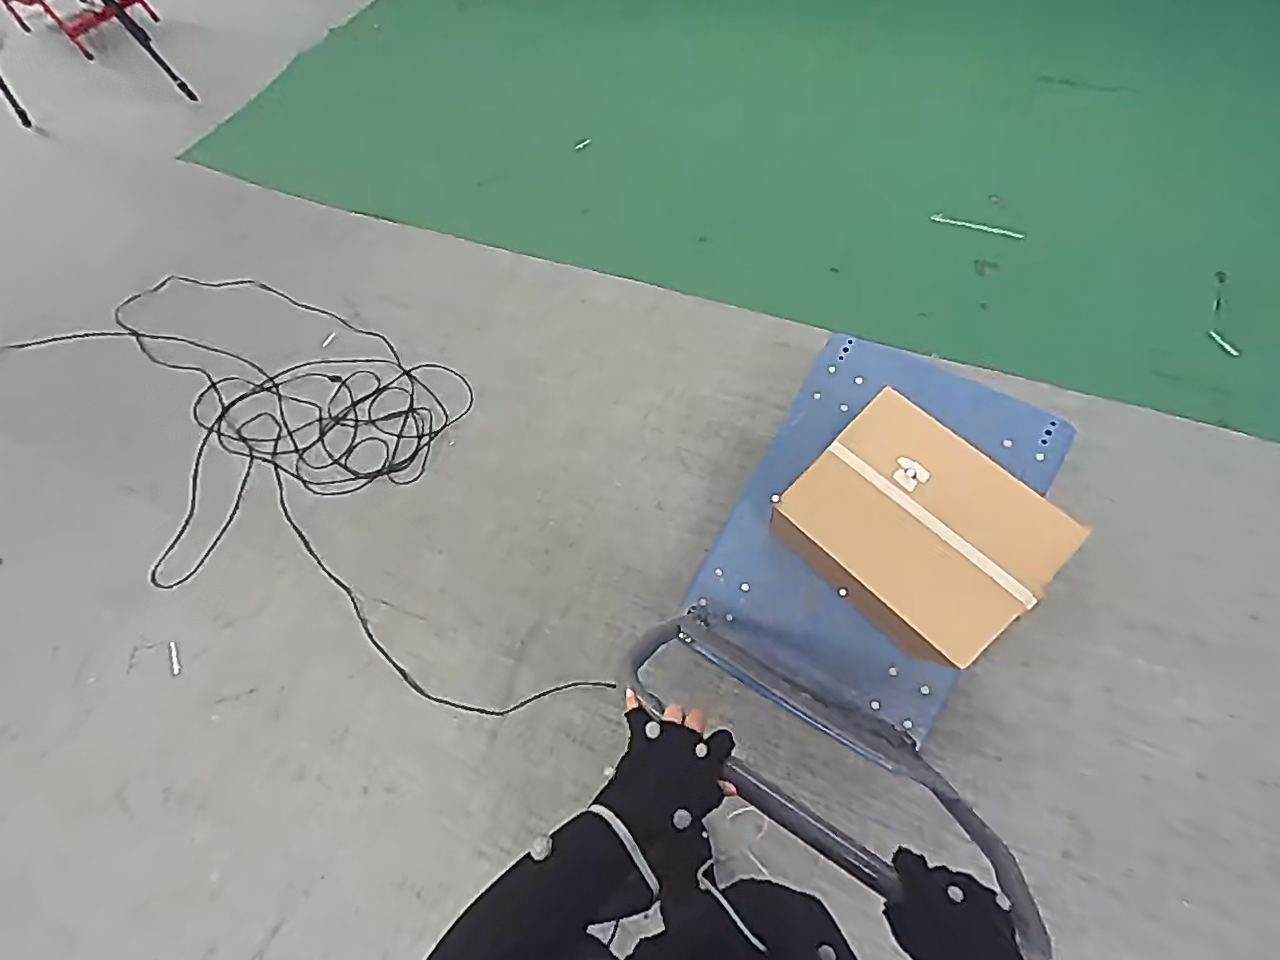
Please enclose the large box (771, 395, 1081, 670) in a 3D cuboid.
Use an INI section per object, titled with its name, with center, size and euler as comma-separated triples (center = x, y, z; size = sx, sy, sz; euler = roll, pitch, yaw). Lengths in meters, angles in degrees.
[large box]
center = 0.517, 0.111, 1.082
size = 0.320, 0.320, 0.408
euler = -45, 71, -2
